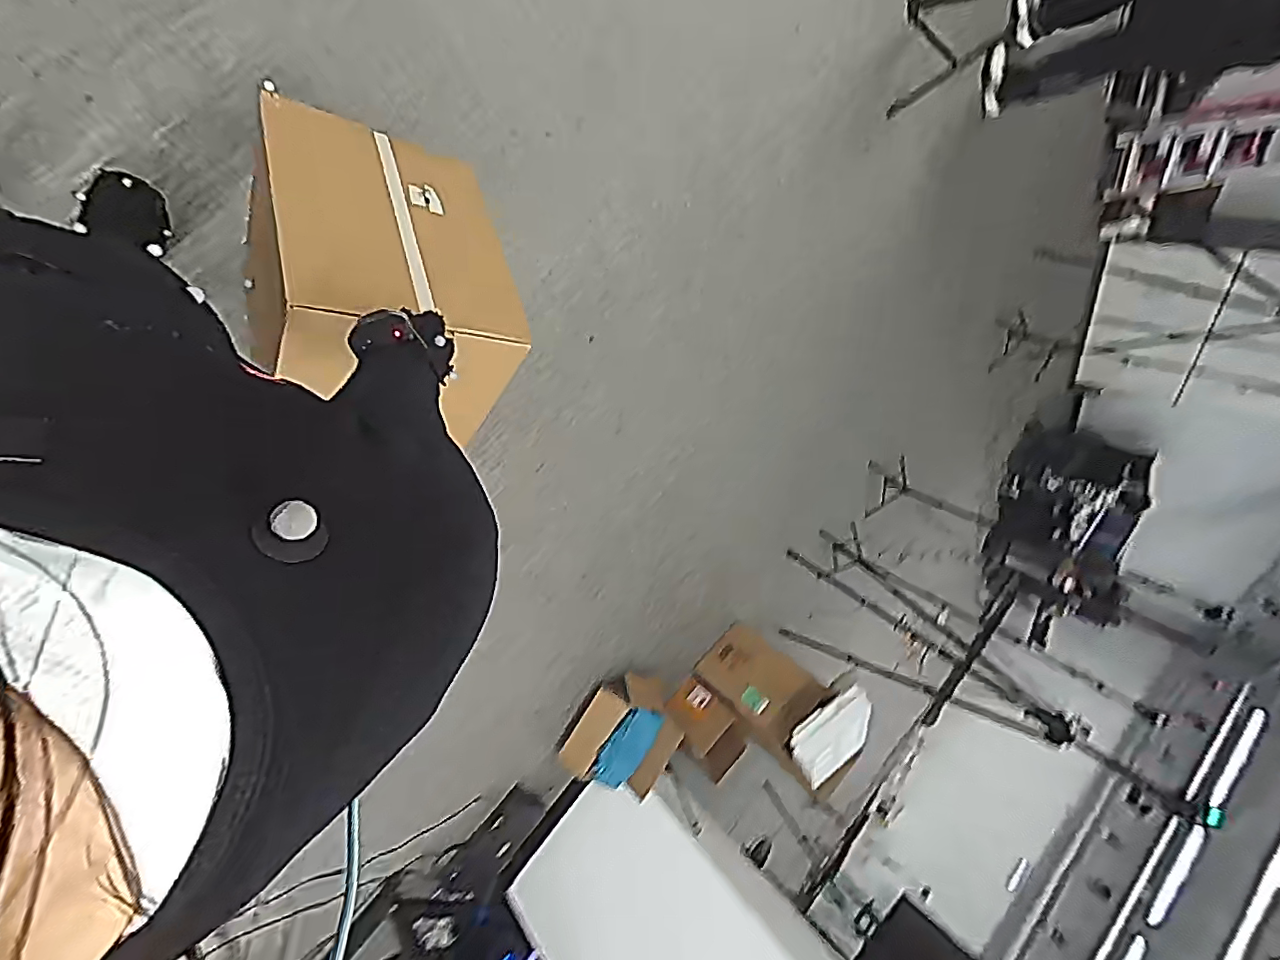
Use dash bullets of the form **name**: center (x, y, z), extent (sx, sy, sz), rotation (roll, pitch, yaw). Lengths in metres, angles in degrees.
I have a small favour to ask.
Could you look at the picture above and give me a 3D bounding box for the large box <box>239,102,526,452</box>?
- **large box**: center (-0.440, -0.293, 0.885), extent (0.320, 0.408, 0.320), rotation (-2, 150, -43)
